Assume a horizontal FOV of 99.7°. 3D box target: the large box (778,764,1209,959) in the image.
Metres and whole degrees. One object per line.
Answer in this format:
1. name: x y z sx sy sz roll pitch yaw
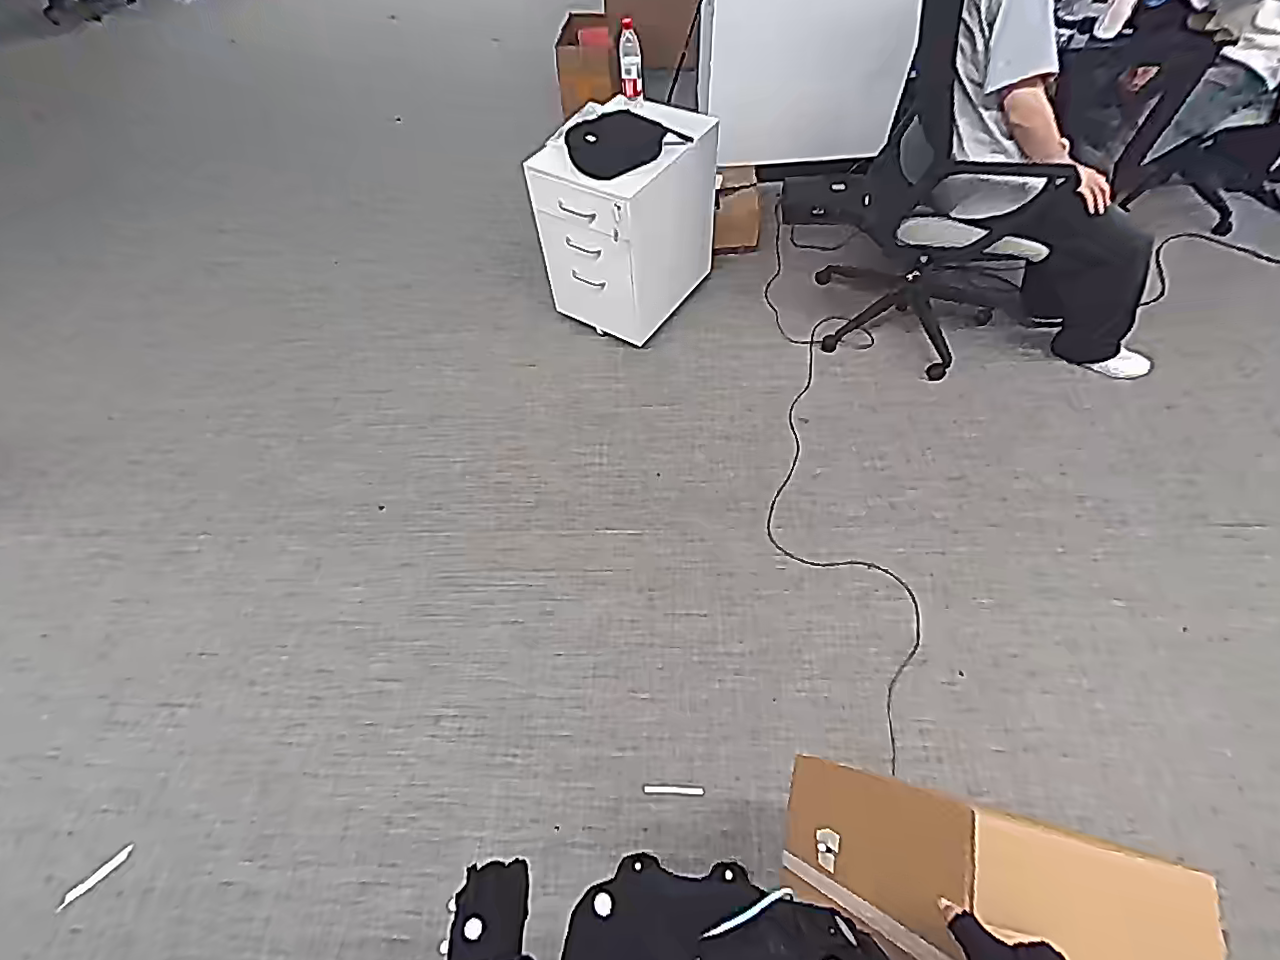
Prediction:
1. large box: 0.428 0.613 0.730 0.320 0.408 0.320 17 68 -5
